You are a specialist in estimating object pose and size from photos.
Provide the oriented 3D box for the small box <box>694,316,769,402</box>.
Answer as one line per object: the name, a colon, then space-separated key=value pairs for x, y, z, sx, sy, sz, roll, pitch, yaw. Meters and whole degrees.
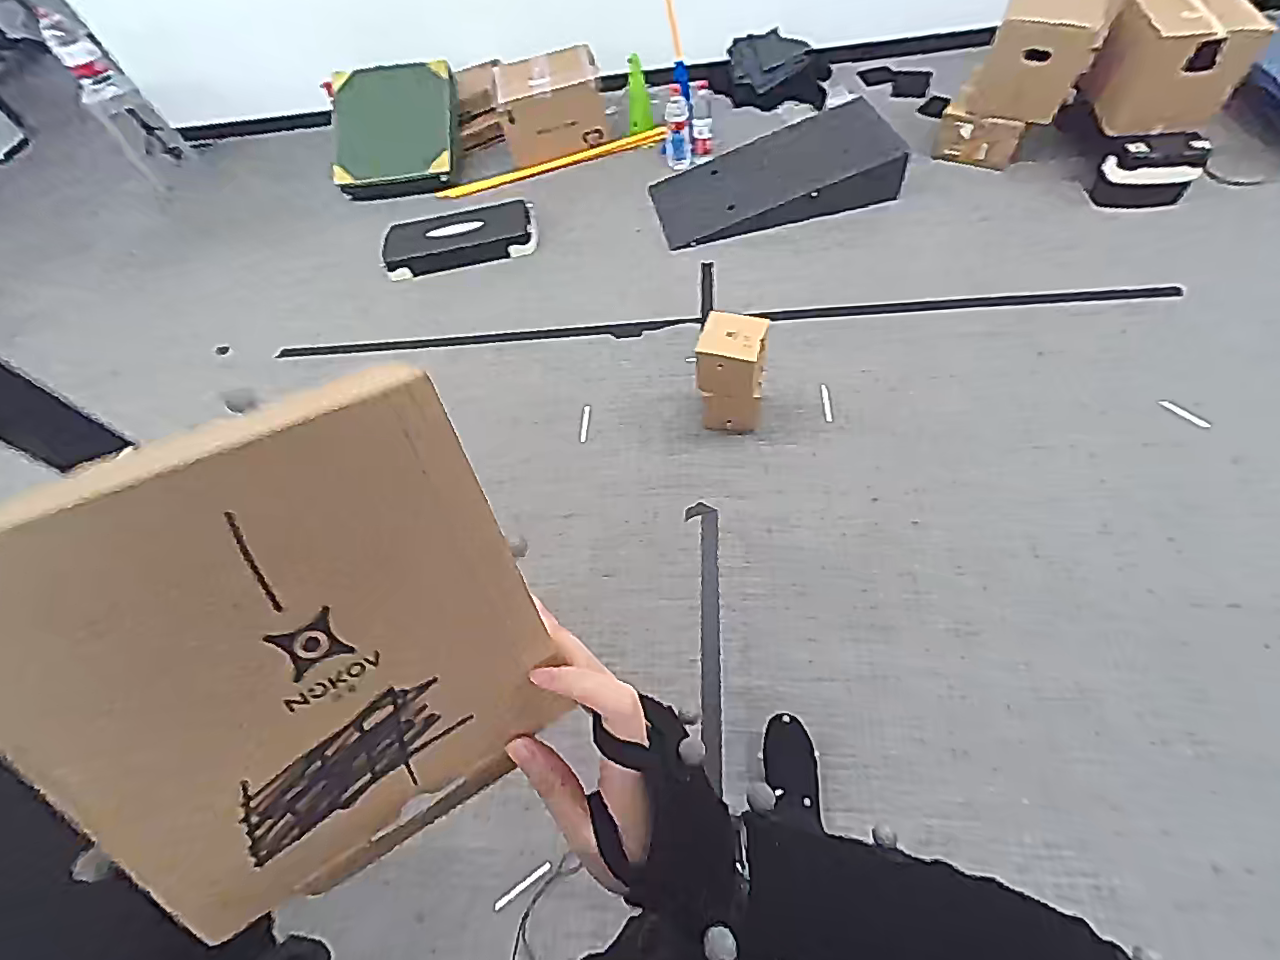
small box: x=0.268 y=-0.350 z=1.583 sx=0.179 sy=0.176 sz=0.168 roll=15 pitch=62 yaw=16

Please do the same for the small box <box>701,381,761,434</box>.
small box: x=0.288 y=-0.261 z=1.721 sx=0.179 sy=0.176 sz=0.168 roll=4 pitch=59 yaw=9
